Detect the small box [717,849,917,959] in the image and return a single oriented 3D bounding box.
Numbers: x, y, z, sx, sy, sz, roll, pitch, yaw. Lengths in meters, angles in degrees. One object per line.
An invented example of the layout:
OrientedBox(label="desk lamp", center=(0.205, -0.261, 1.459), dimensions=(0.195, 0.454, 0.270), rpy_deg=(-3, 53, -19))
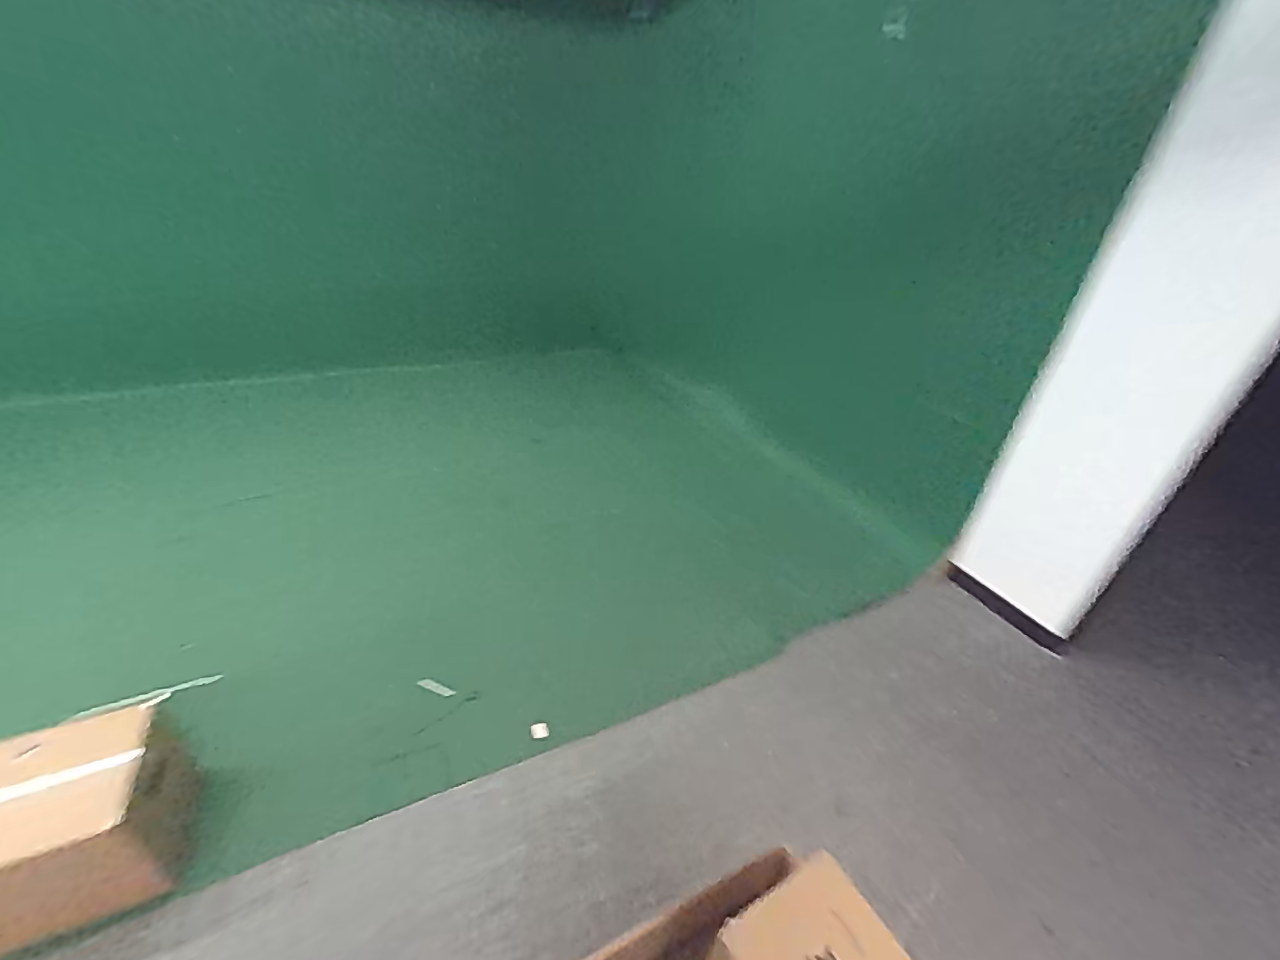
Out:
OrientedBox(label="small box", center=(0.203, 0.591, 0.630), dimensions=(0.179, 0.176, 0.168), rpy_deg=(-15, 38, -27))
